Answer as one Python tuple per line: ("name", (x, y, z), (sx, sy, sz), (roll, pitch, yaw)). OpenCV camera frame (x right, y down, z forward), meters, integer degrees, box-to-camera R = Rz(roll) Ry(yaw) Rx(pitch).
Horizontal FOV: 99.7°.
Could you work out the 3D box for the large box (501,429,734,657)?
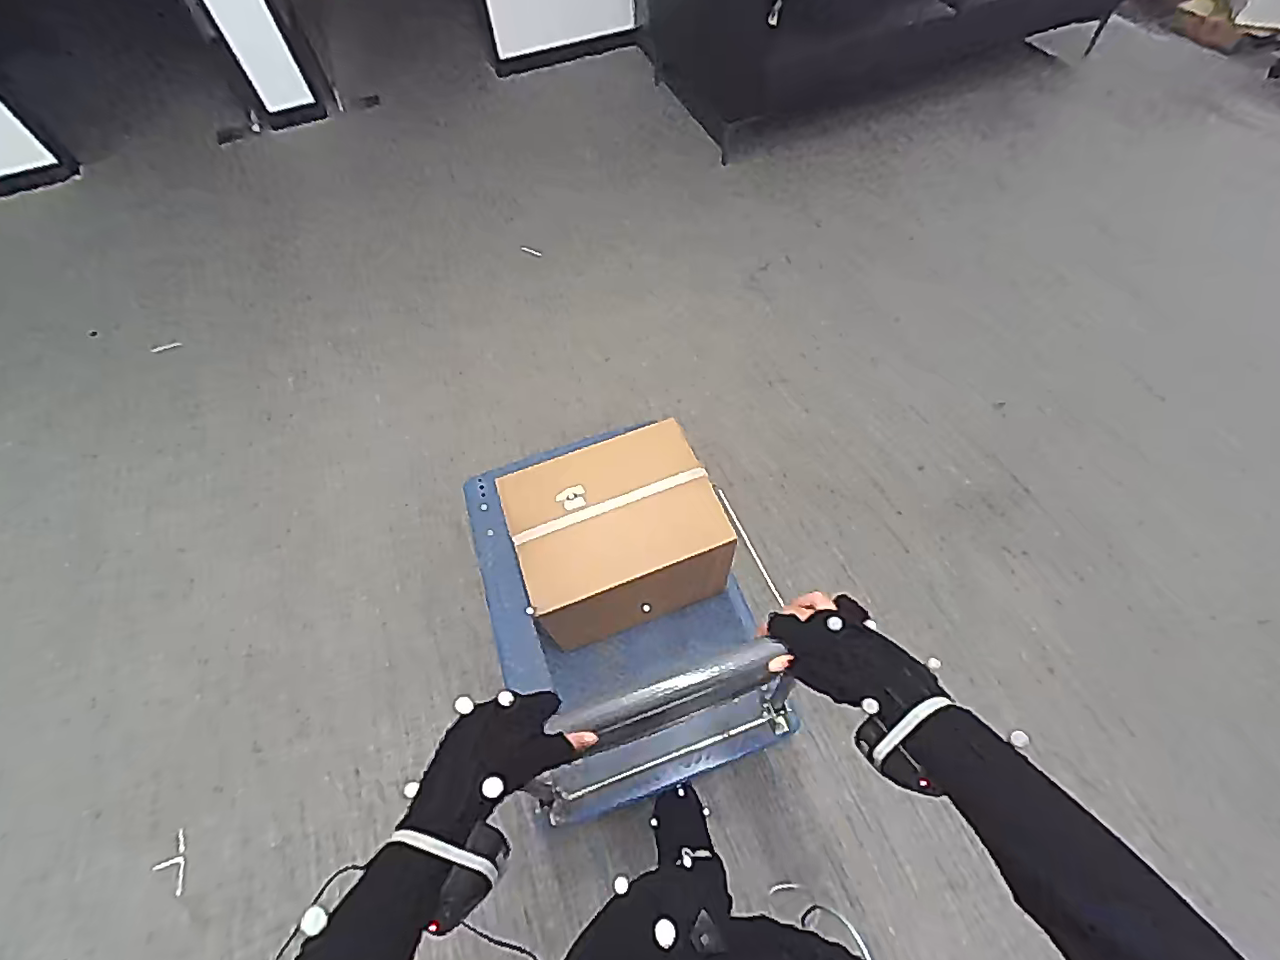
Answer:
("large box", (-0.043, 0.151, 1.214), (0.408, 0.320, 0.320), (-21, 60, -7))
